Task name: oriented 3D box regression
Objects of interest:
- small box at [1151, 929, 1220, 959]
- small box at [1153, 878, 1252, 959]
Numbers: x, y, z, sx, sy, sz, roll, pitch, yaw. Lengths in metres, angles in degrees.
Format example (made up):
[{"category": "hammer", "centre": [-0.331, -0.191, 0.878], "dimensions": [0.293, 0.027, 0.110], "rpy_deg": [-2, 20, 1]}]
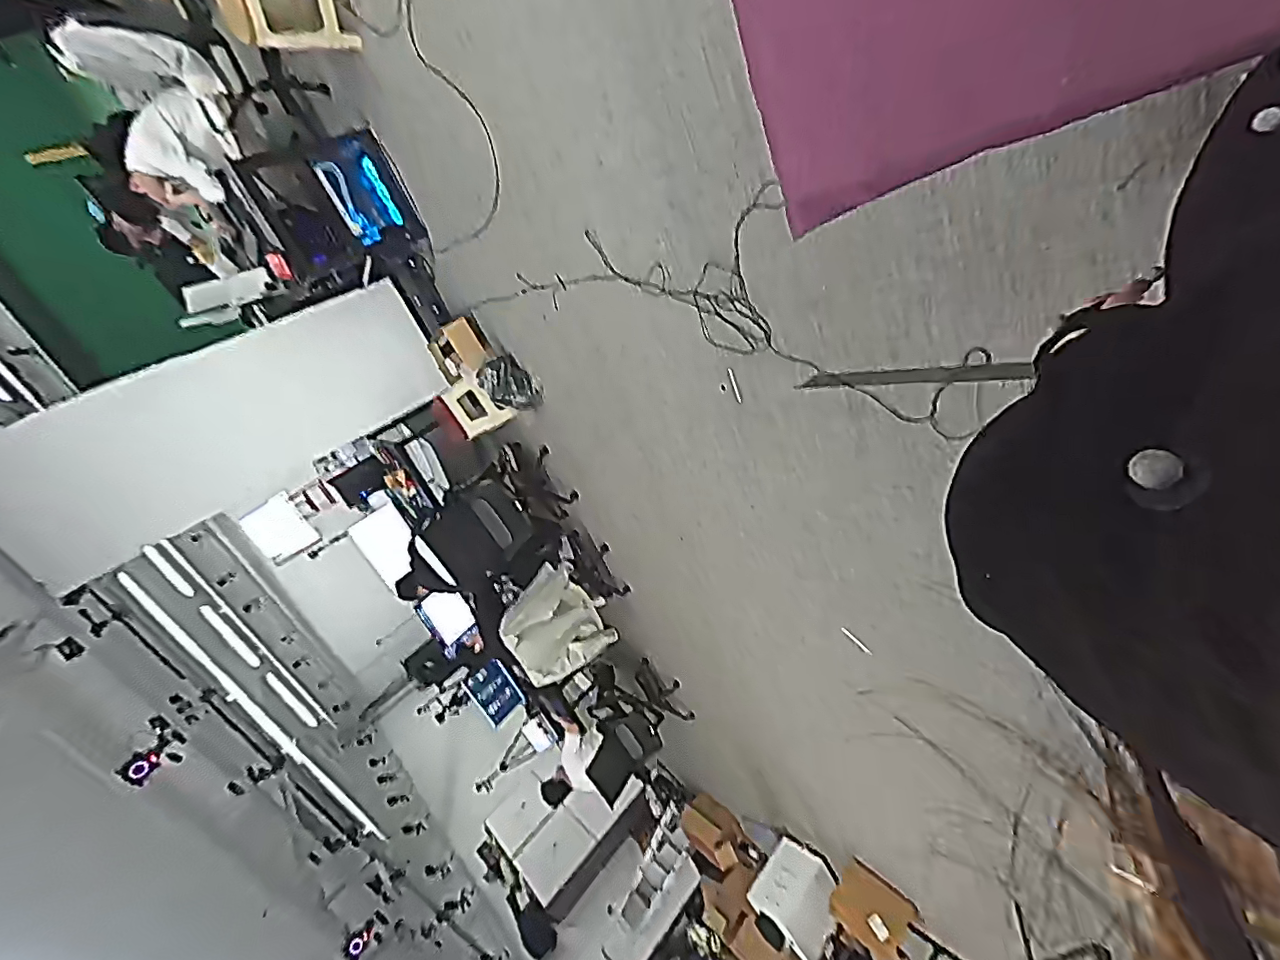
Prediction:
[{"category": "small box", "centre": [1.453, 1.350, 1.417], "dimensions": [0.168, 0.176, 0.179], "rpy_deg": [8, 127, 51]}, {"category": "small box", "centre": [1.564, 1.270, 1.504], "dimensions": [0.179, 0.176, 0.168], "rpy_deg": [7, 127, 52]}]
